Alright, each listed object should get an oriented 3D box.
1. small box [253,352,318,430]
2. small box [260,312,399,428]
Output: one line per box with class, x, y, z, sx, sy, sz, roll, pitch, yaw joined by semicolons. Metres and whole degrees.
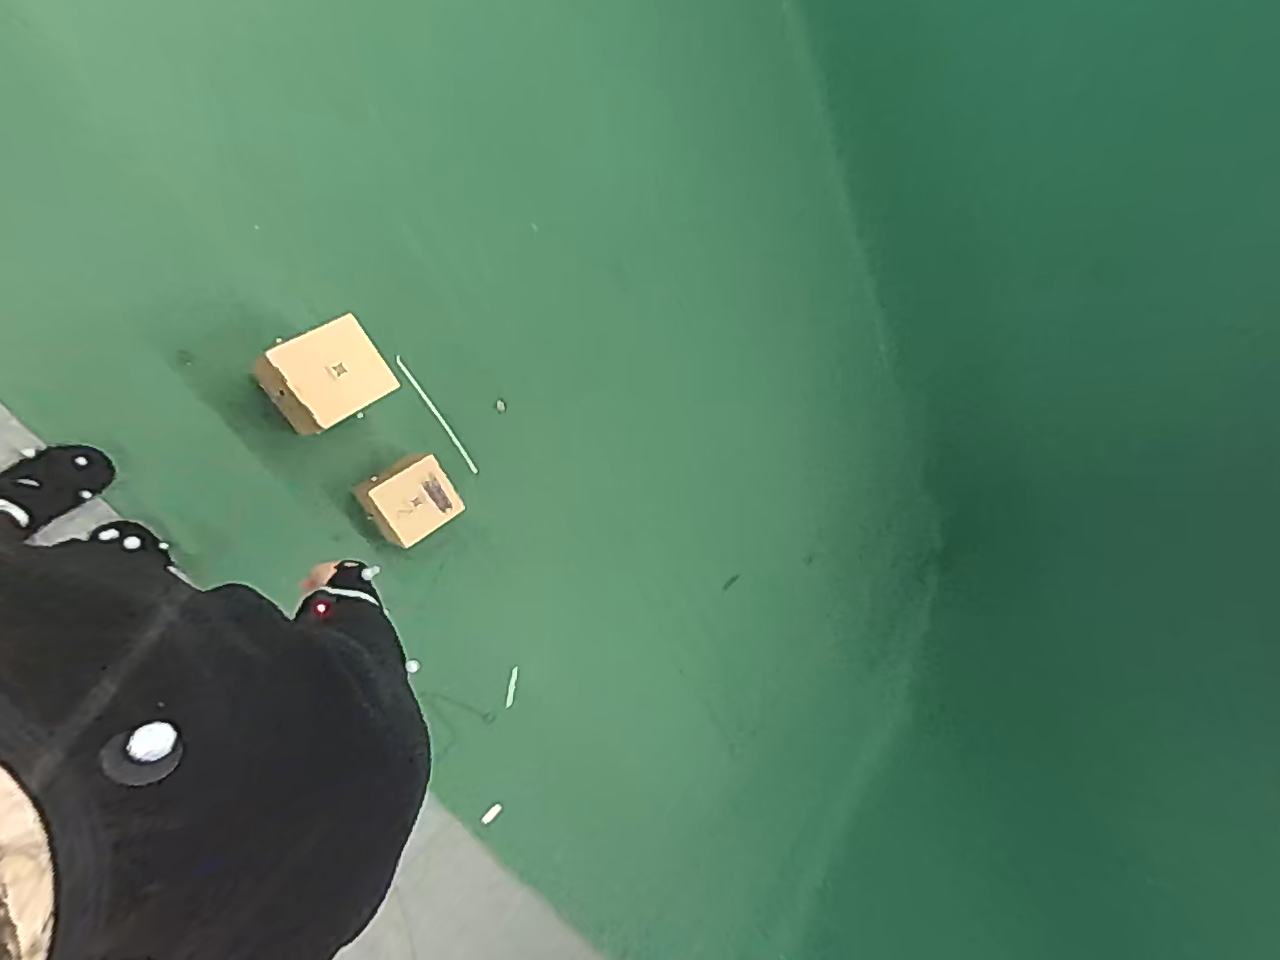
small box;-0.740;-0.228;1.231;0.168;0.176;0.179;-43;116;-31
small box;-0.637;-0.220;1.105;0.179;0.176;0.168;-42;117;-30
